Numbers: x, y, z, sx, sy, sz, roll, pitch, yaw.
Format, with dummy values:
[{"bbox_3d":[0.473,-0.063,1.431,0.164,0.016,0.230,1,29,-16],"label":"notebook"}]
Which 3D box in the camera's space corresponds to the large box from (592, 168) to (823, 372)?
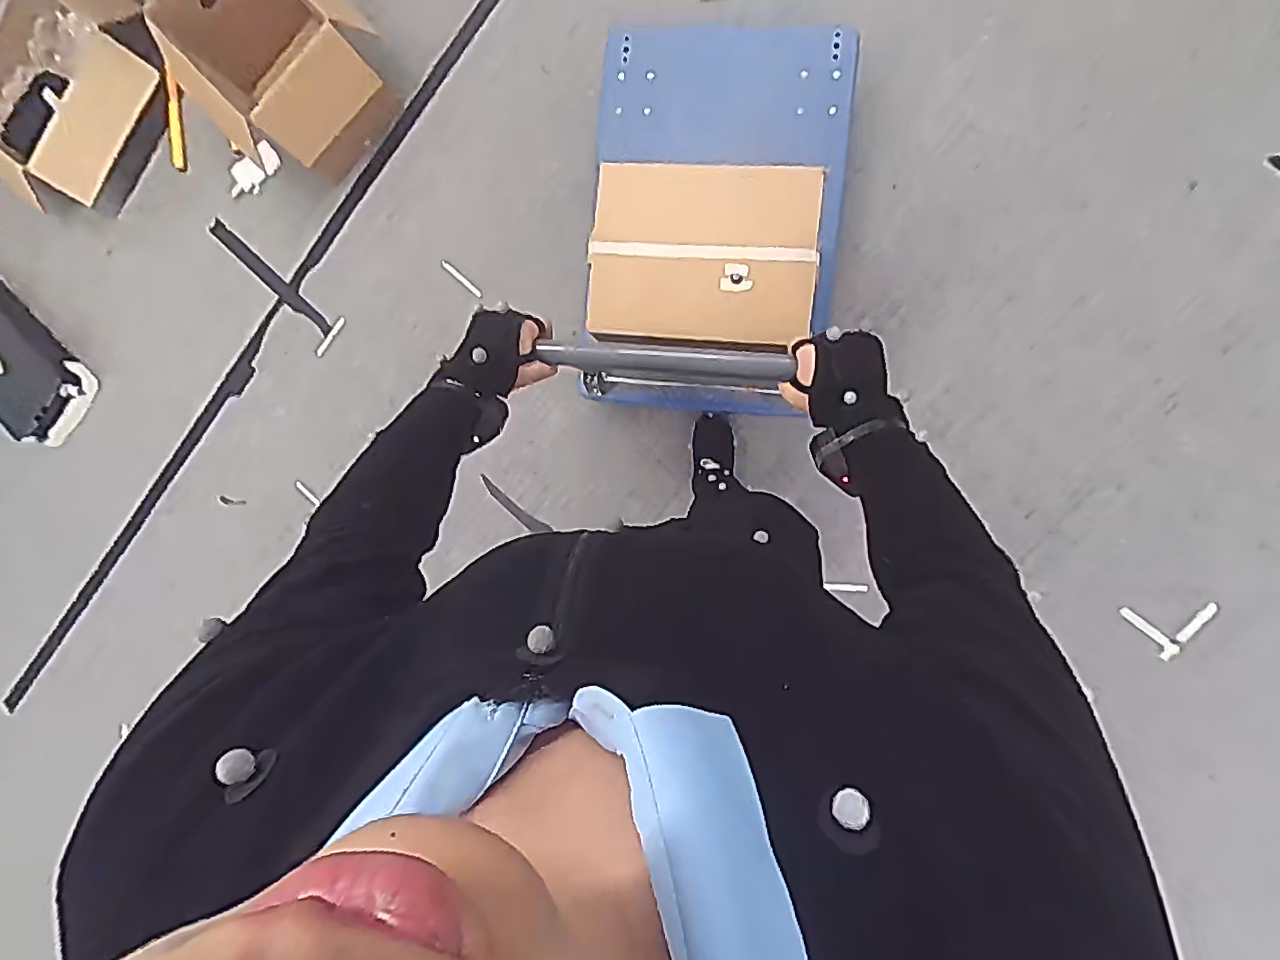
[{"bbox_3d":[0.132,-0.412,1.128,0.408,0.320,0.320,5,93,7],"label":"large box"}]
